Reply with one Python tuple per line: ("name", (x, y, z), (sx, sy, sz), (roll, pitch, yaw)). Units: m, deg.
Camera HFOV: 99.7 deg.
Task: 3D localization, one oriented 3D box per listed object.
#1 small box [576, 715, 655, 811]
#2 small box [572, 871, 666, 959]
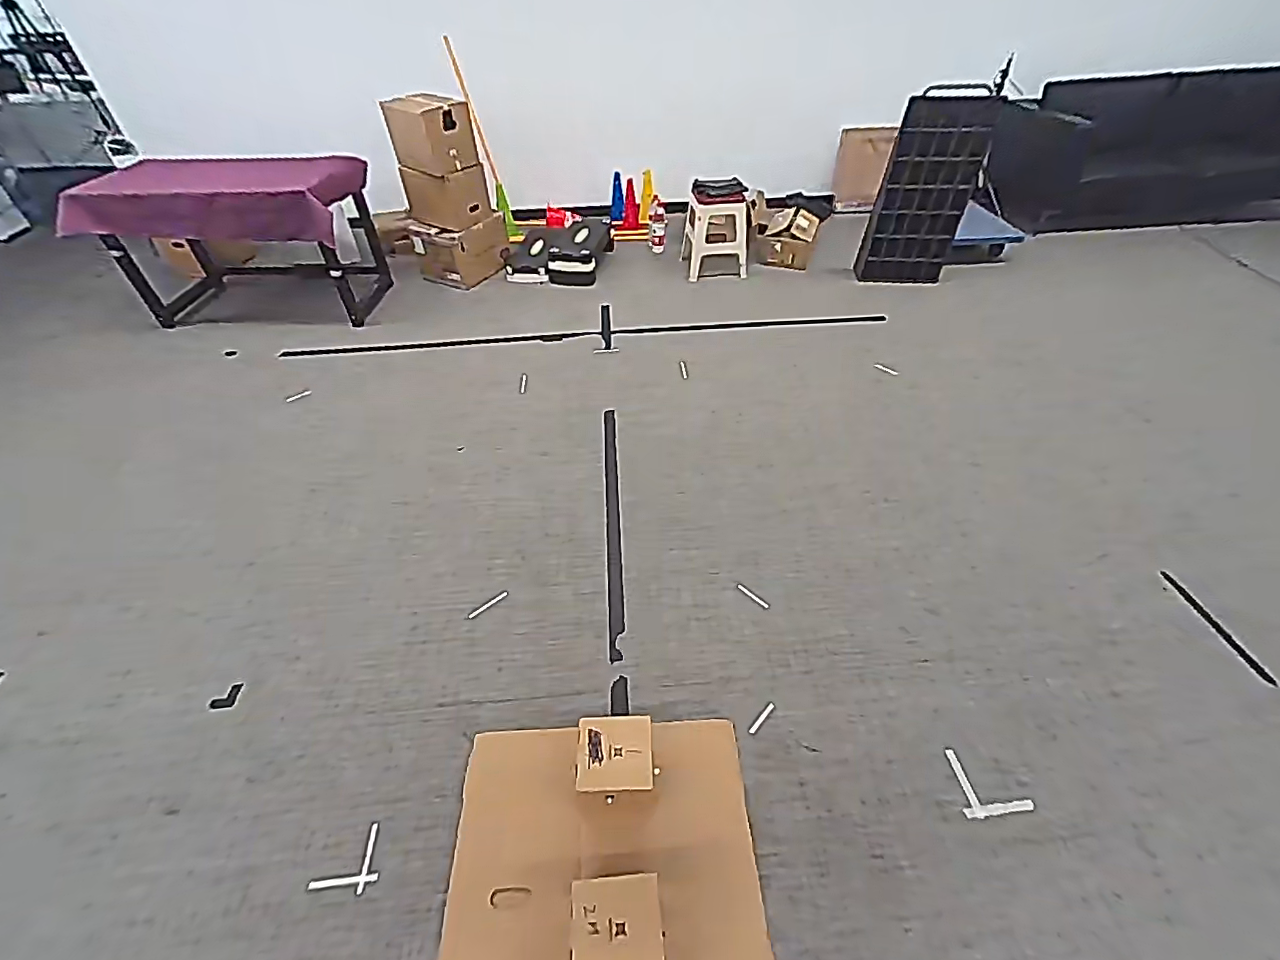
("small box", (-0.054, 0.694, 1.324), (0.179, 0.176, 0.168), (-1, 43, 0))
("small box", (-0.040, 0.912, 1.093), (0.179, 0.176, 0.168), (-4, 43, -1))
